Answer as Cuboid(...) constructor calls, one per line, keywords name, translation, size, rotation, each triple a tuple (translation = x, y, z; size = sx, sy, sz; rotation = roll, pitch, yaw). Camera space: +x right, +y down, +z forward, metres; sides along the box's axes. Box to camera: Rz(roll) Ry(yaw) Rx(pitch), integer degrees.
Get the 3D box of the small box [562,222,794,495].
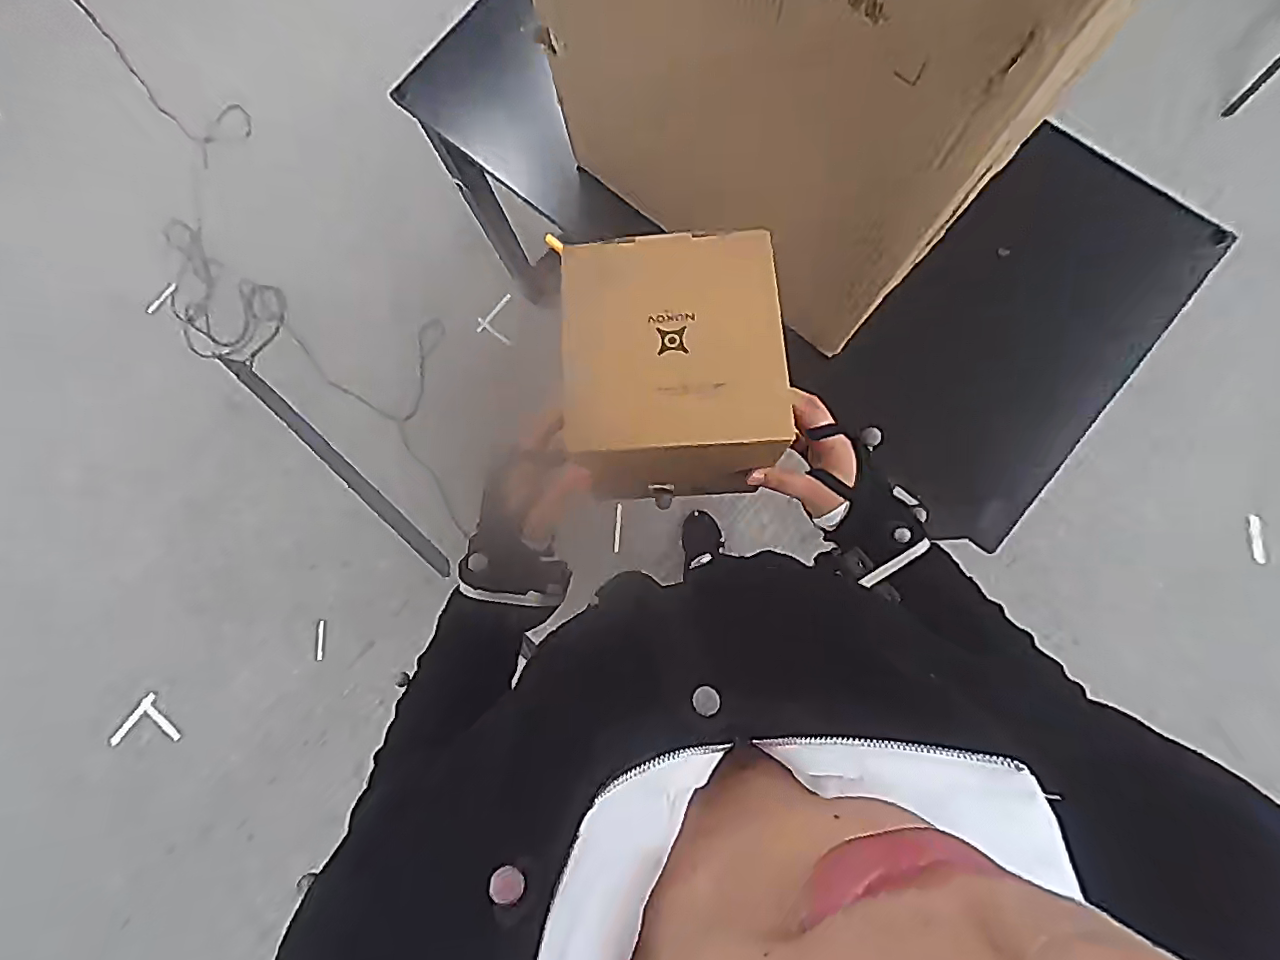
Cuboid(name="small box", translation=(0.026, -0.093, 0.476), size=(0.168, 0.176, 0.179), rotation=(-4, 77, 2))
